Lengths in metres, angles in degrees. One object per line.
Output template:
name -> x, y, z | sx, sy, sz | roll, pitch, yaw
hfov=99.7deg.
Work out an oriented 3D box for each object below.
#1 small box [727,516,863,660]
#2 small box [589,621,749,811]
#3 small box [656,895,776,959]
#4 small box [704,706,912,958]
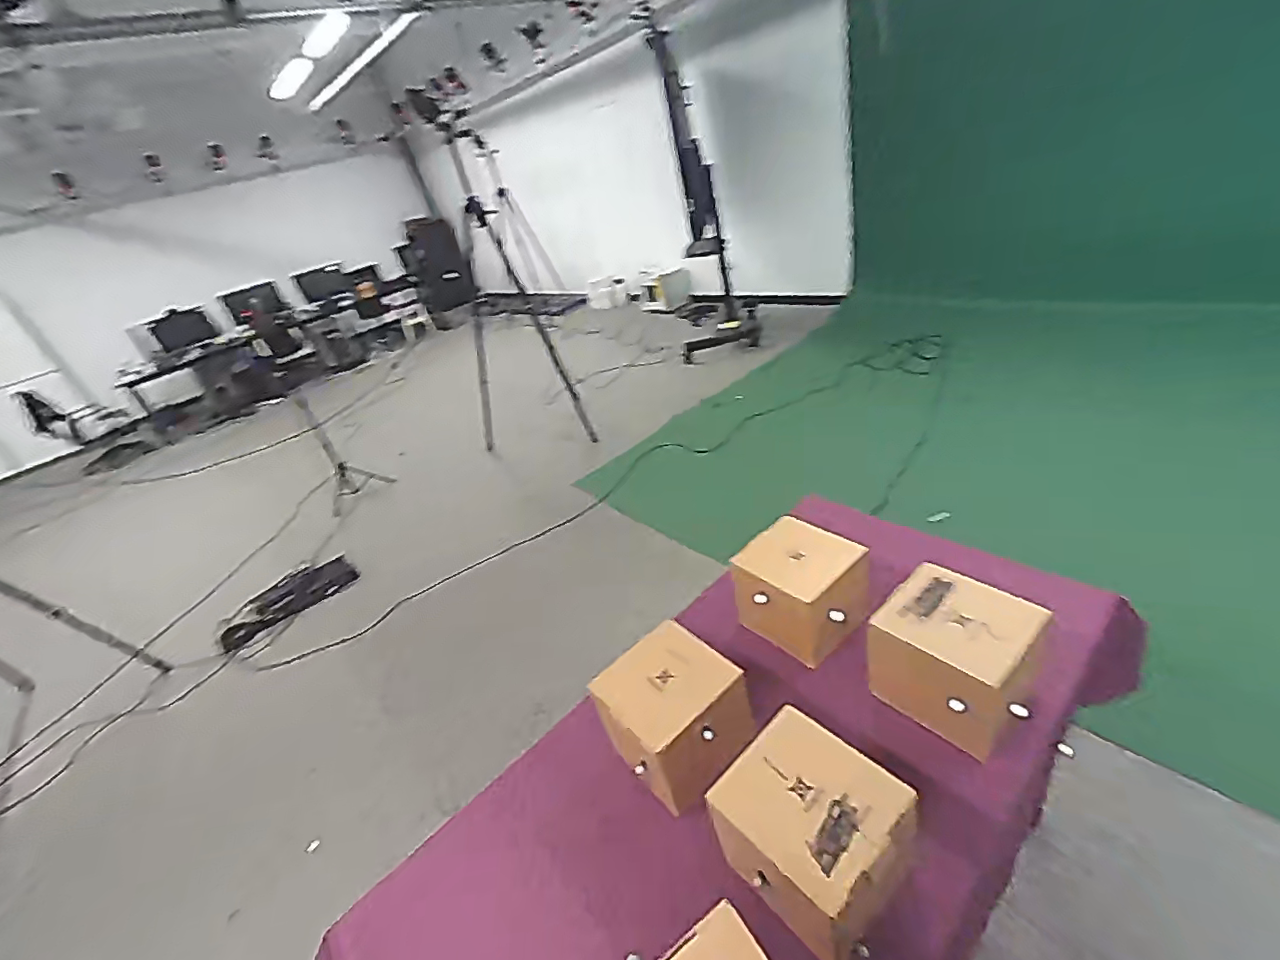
small box -> 0.292, 0.200, 0.997 | 0.168, 0.176, 0.179 | -33, 34, -26
small box -> 0.052, 0.365, 0.845 | 0.179, 0.176, 0.168 | -33, 35, -26
small box -> 0.052, 0.441, 0.377 | 0.168, 0.176, 0.179 | -29, 54, -20
small box -> 0.209, 0.428, 0.662 | 0.168, 0.176, 0.179 | -34, 33, -27
